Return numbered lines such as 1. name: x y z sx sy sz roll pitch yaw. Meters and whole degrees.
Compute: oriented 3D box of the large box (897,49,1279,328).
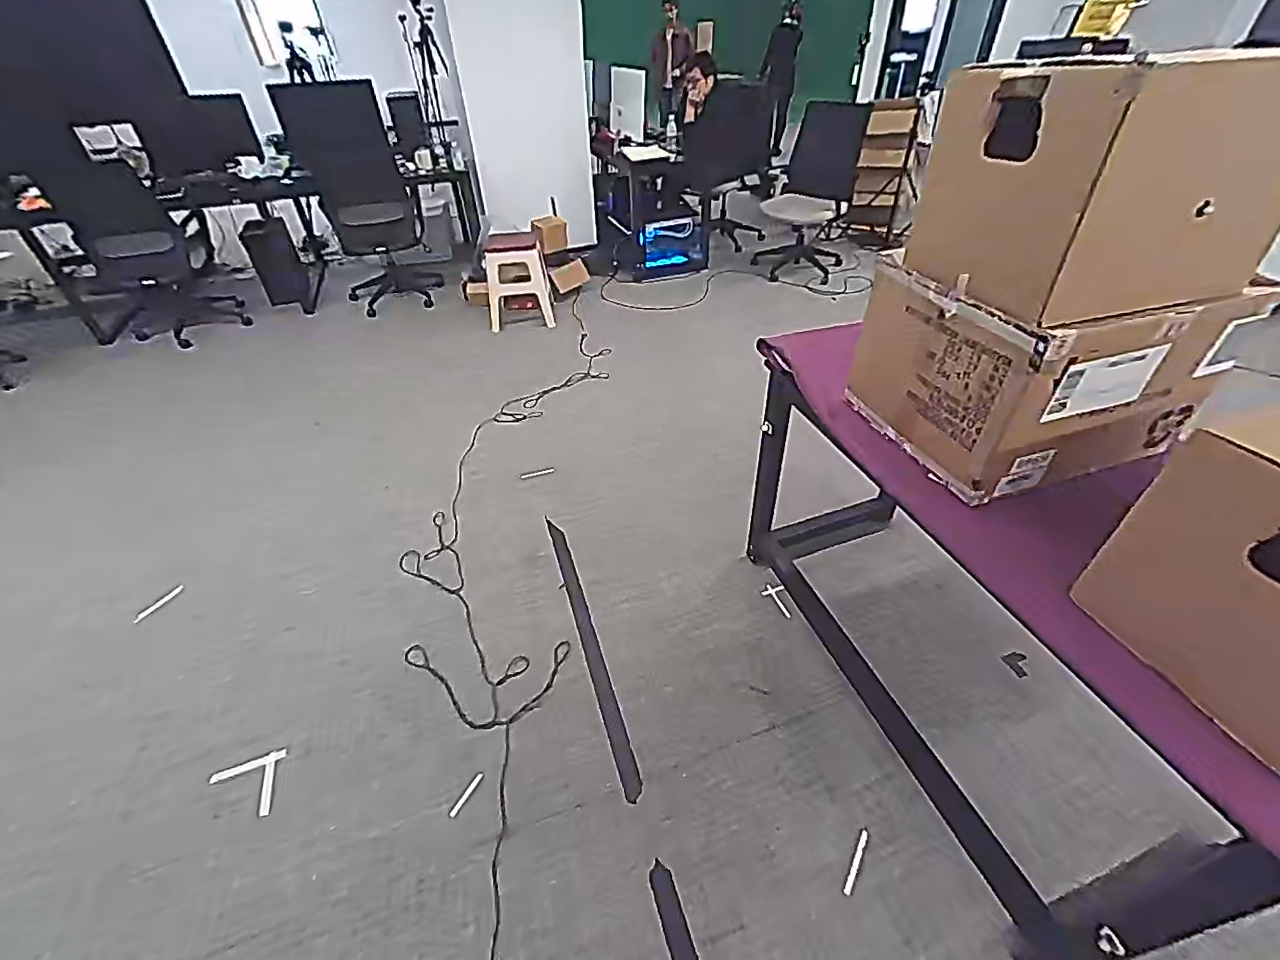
1. large box: 0.703 -0.467 0.854 0.408 0.320 0.320 -13 37 -12
